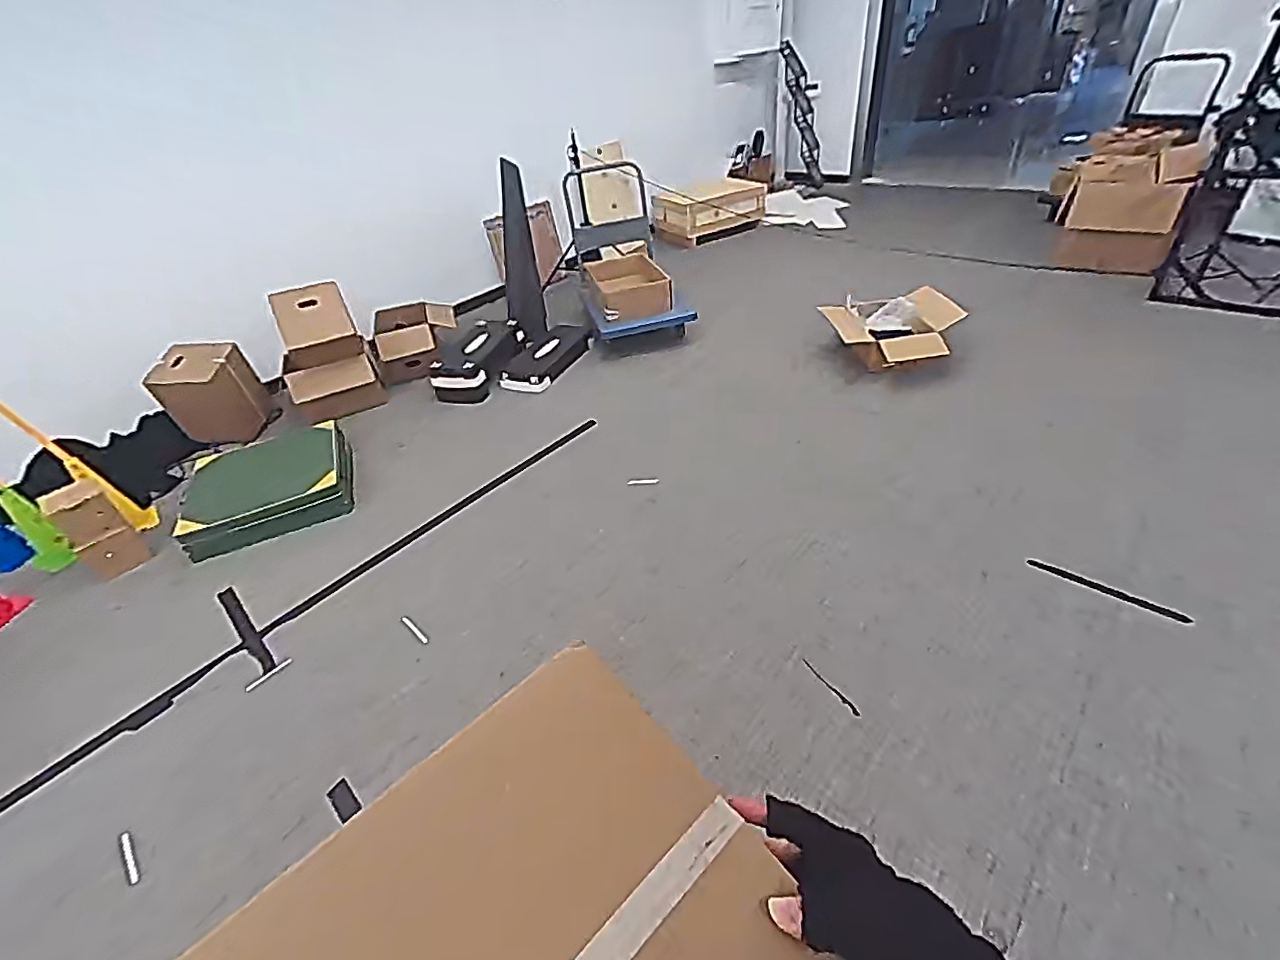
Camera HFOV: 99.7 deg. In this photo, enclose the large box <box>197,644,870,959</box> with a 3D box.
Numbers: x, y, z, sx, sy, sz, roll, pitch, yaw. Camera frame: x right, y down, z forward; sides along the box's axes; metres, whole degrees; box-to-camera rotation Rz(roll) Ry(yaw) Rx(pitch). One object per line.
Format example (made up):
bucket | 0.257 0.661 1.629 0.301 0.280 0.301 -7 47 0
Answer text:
large box | -0.091 0.412 0.384 0.408 0.320 0.320 -34 61 -27
